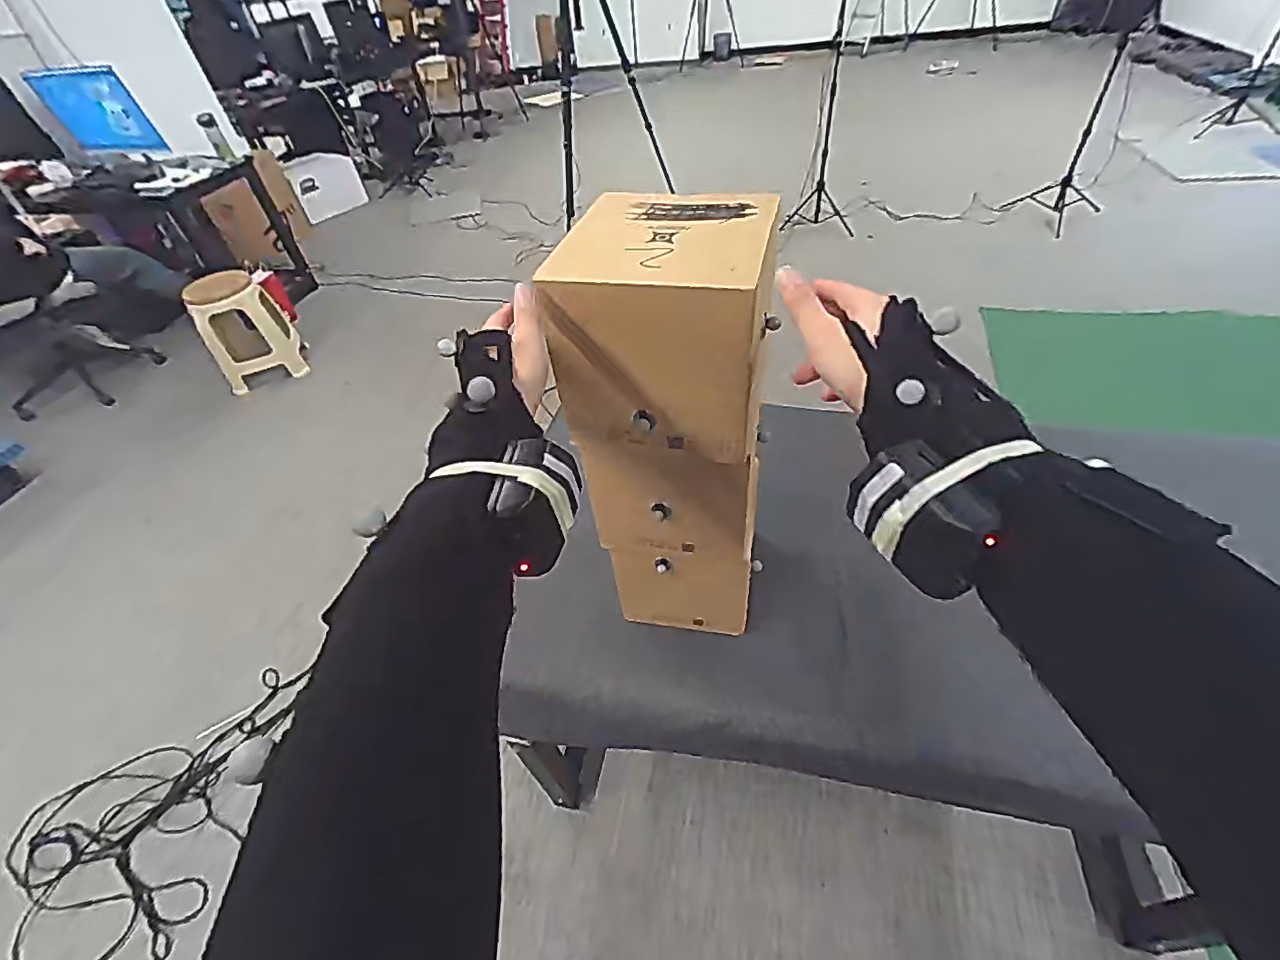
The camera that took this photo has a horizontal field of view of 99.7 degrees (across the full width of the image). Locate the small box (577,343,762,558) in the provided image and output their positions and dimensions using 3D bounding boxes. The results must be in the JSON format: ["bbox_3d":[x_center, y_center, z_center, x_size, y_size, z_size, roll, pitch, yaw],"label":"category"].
[{"bbox_3d":[0.043,-0.033,0.611,0.168,0.176,0.179,6,46,12],"label":"small box"}]

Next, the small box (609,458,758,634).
[{"bbox_3d":[0.064,0.079,0.731,0.168,0.176,0.179,5,46,12],"label":"small box"}]
